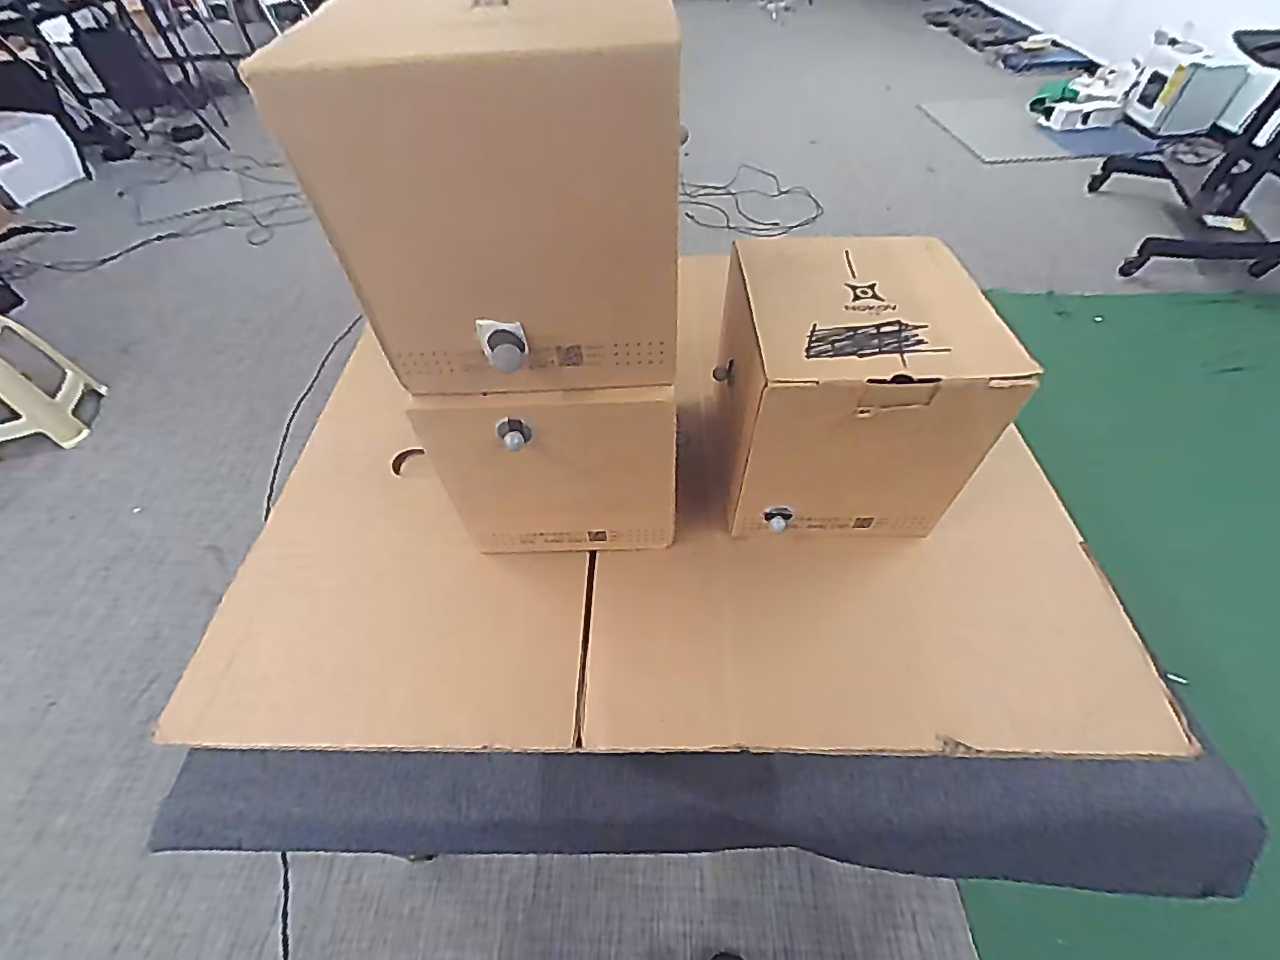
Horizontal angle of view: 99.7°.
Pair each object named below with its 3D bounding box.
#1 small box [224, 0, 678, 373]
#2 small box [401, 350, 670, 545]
[{"bbox_3d":[-0.069,-0.182,0.306,0.168,0.176,0.179,-4,53,1],"label":"small box"},{"bbox_3d":[-0.061,-0.065,0.440,0.168,0.176,0.179,-2,51,3],"label":"small box"}]
